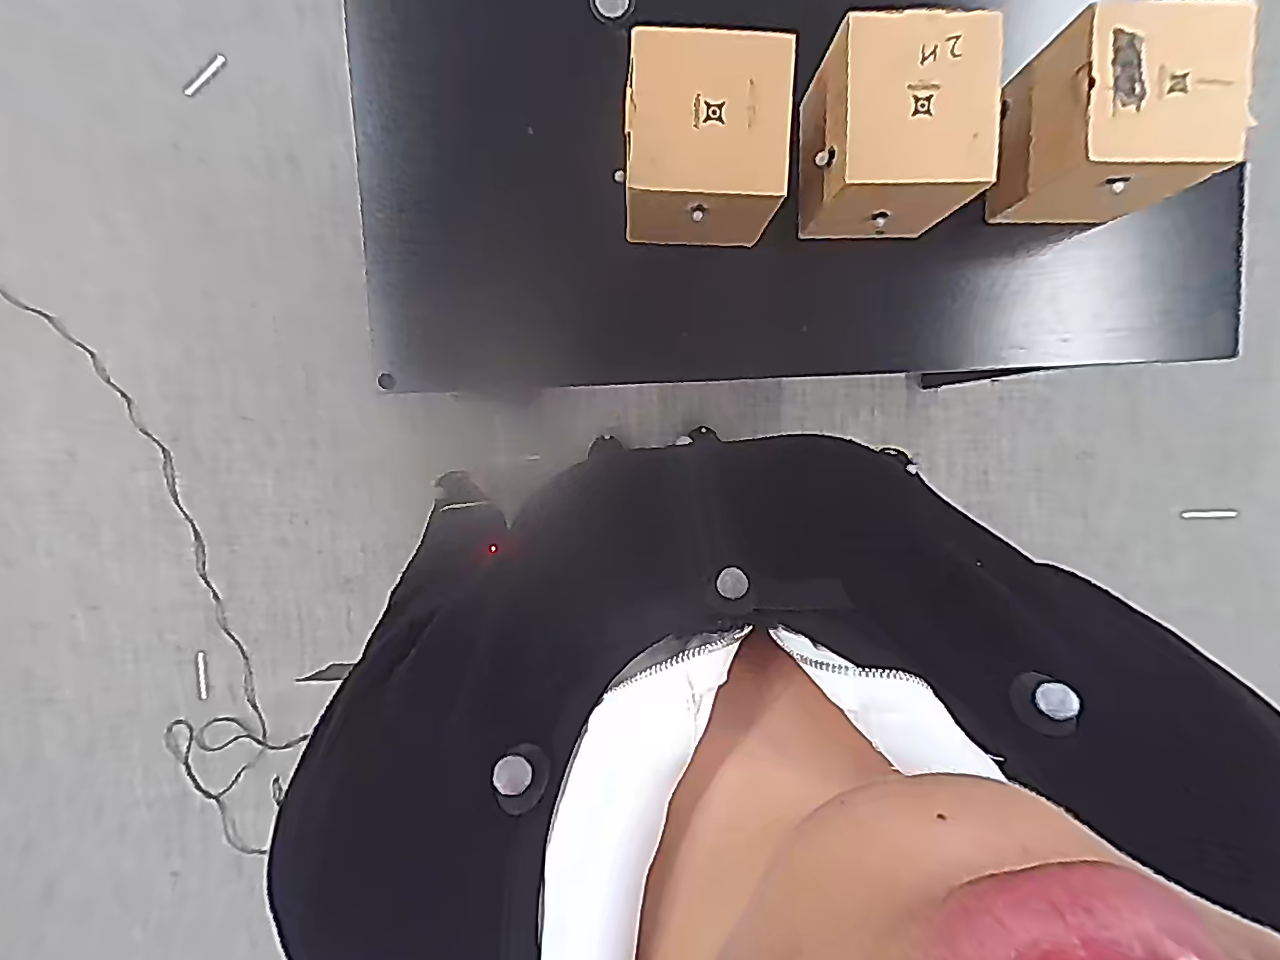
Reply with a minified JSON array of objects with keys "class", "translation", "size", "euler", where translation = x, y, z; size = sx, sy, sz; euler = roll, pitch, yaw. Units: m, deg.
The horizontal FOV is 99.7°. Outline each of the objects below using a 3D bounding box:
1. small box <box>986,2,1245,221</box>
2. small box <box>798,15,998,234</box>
[{"class":"small box","translation":[0.561,-0.434,0.664],"size":[0.179,0.176,0.168],"euler":[0,95,-1]},{"class":"small box","translation":[0.300,-0.416,0.663],"size":[0.168,0.176,0.179],"euler":[0,95,-1]}]
